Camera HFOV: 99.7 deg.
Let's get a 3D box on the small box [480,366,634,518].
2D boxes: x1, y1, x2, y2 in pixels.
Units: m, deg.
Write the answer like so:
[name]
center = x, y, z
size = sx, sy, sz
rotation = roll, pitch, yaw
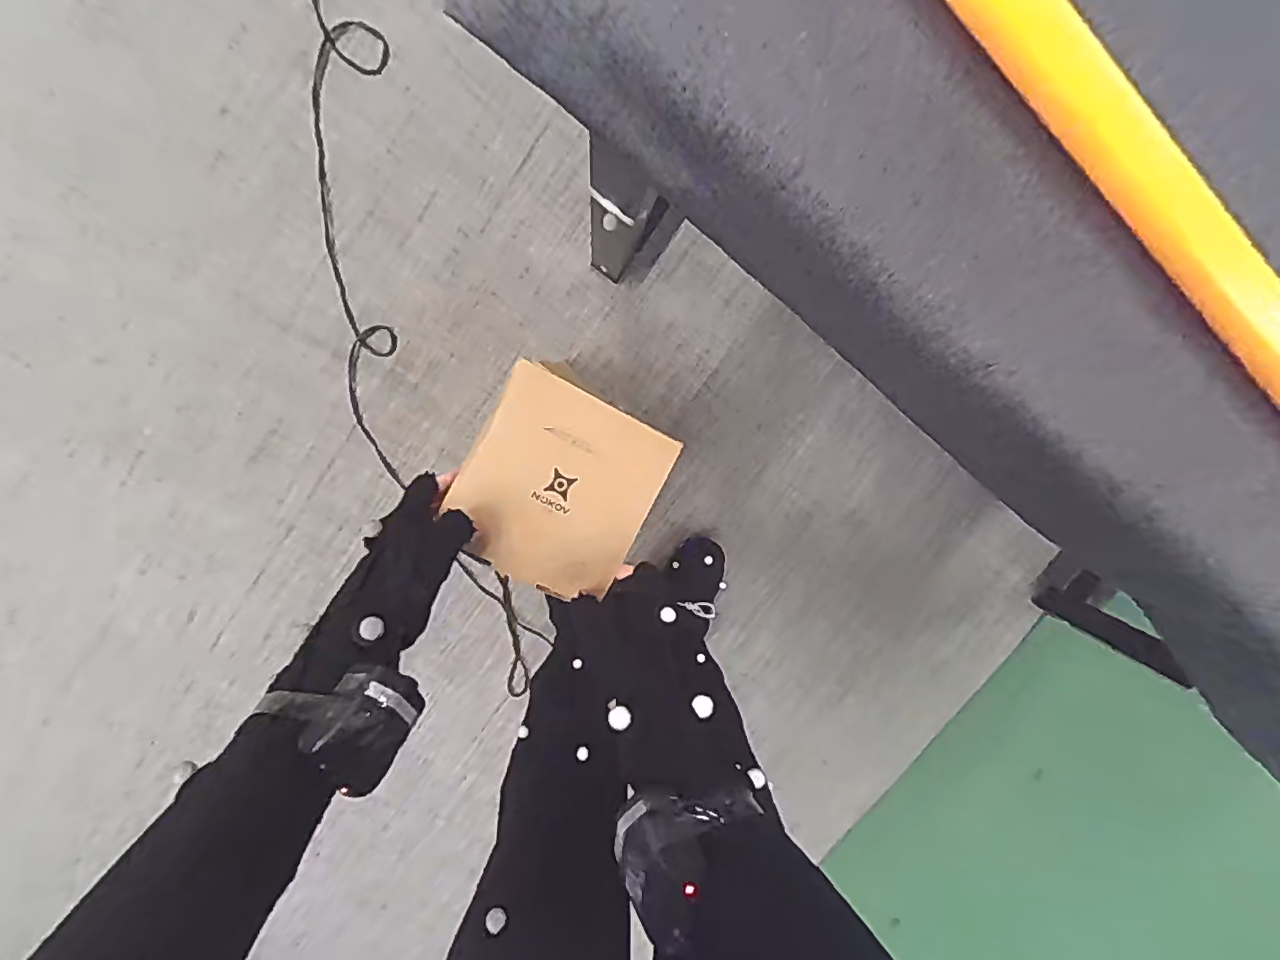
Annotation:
[small box]
center = -0.132, -0.073, 0.892
size = 0.168, 0.176, 0.179
rotation = 43, 97, -12
